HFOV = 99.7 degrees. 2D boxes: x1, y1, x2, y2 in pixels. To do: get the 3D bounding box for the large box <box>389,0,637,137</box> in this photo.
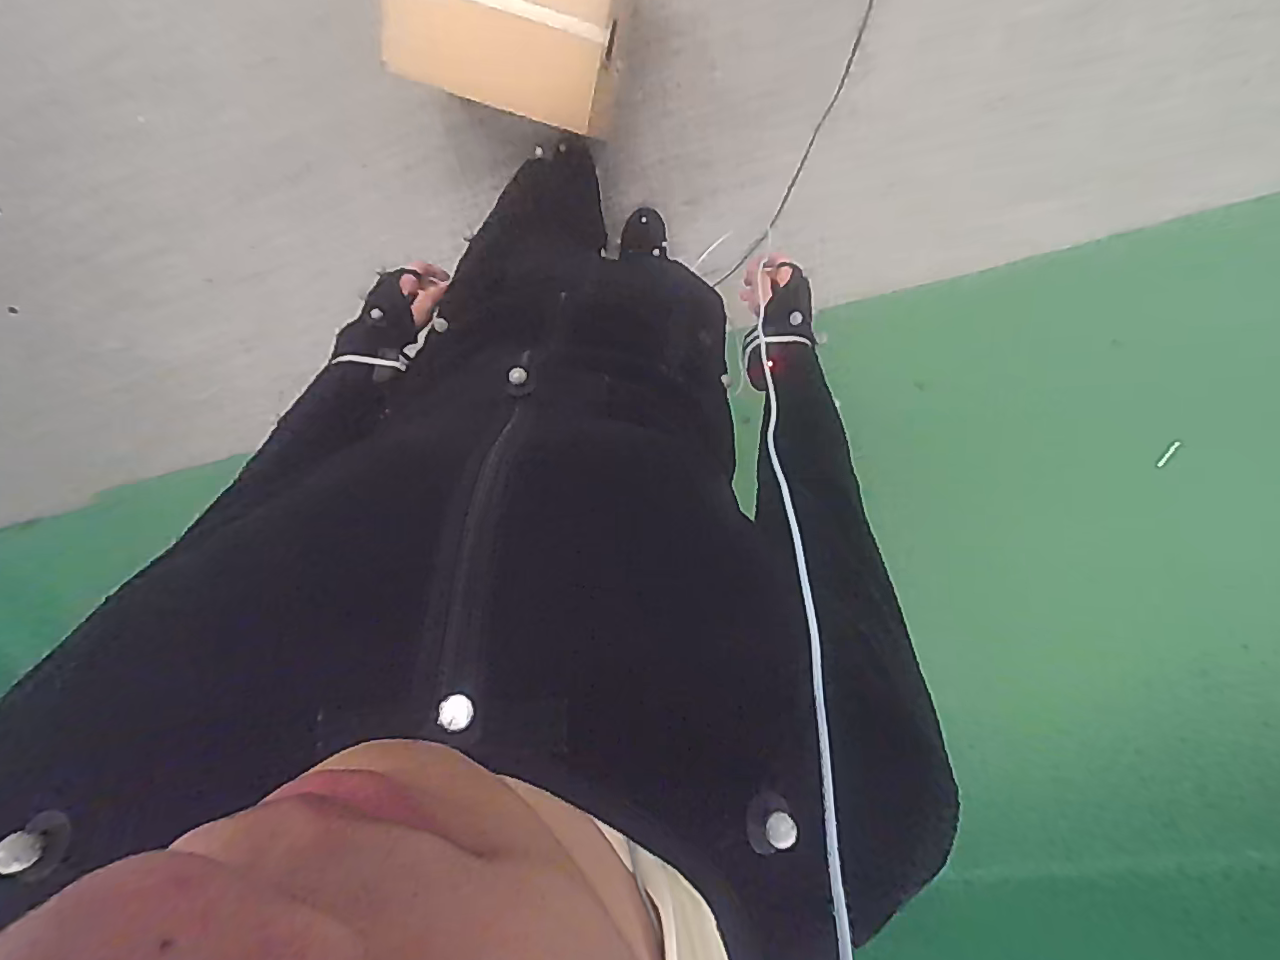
[{"bbox_3d":[-0.238,-0.923,1.096,0.408,0.320,0.320,16,120,-3],"label":"large box"}]
